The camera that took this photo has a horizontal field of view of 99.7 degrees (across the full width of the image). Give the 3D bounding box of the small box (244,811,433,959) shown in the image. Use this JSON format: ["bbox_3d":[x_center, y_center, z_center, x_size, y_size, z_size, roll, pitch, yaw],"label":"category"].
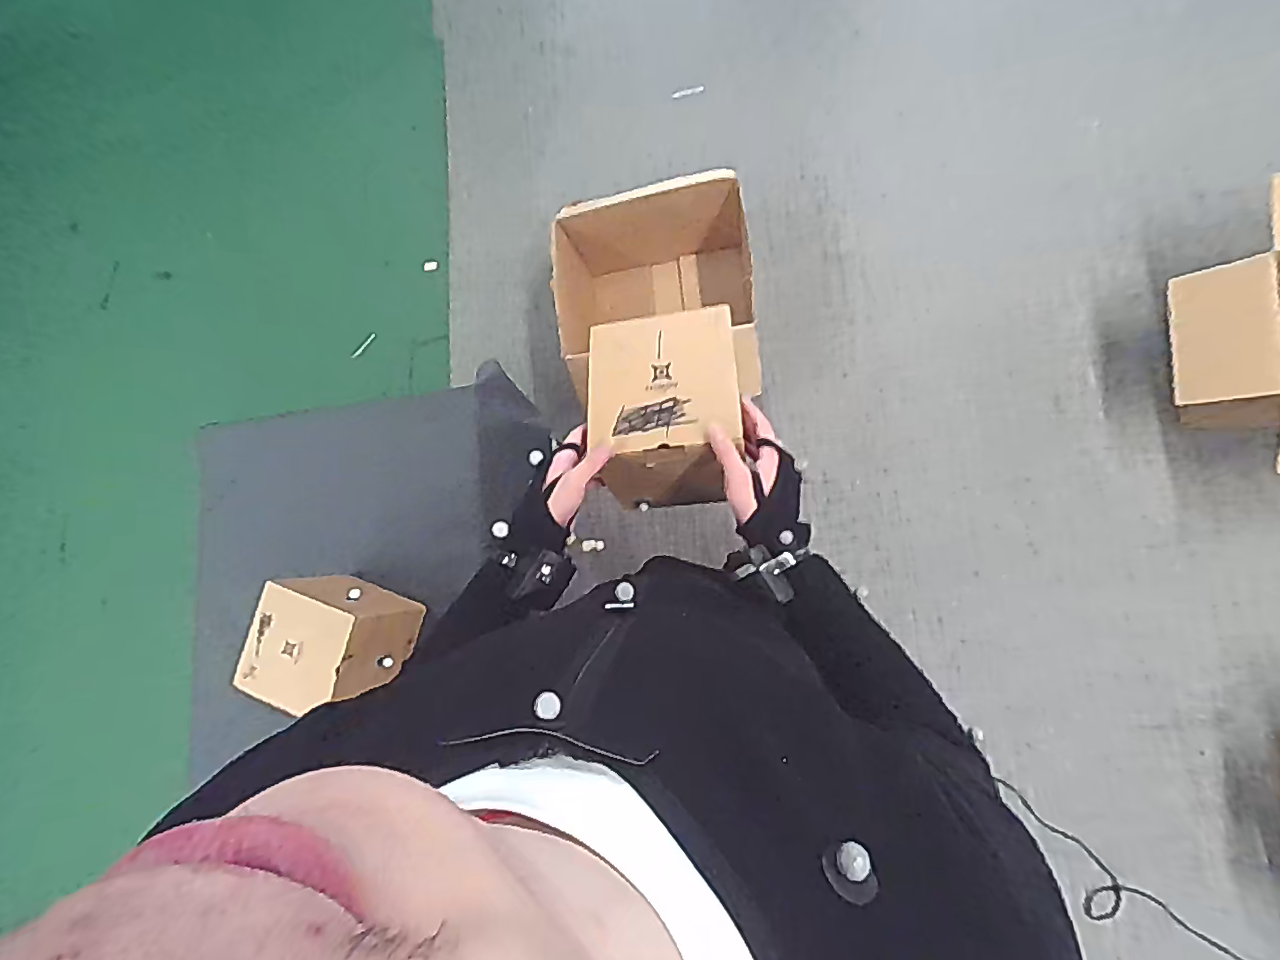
[{"bbox_3d":[-0.426,0.603,0.780,0.179,0.176,0.168,-8,81,11],"label":"small box"}]

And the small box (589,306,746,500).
[{"bbox_3d":[0.041,-0.081,0.666,0.168,0.176,0.179,-5,65,10],"label":"small box"}]

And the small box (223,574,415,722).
[{"bbox_3d":[-0.496,0.251,0.861,0.179,0.176,0.168,16,86,13],"label":"small box"}]
